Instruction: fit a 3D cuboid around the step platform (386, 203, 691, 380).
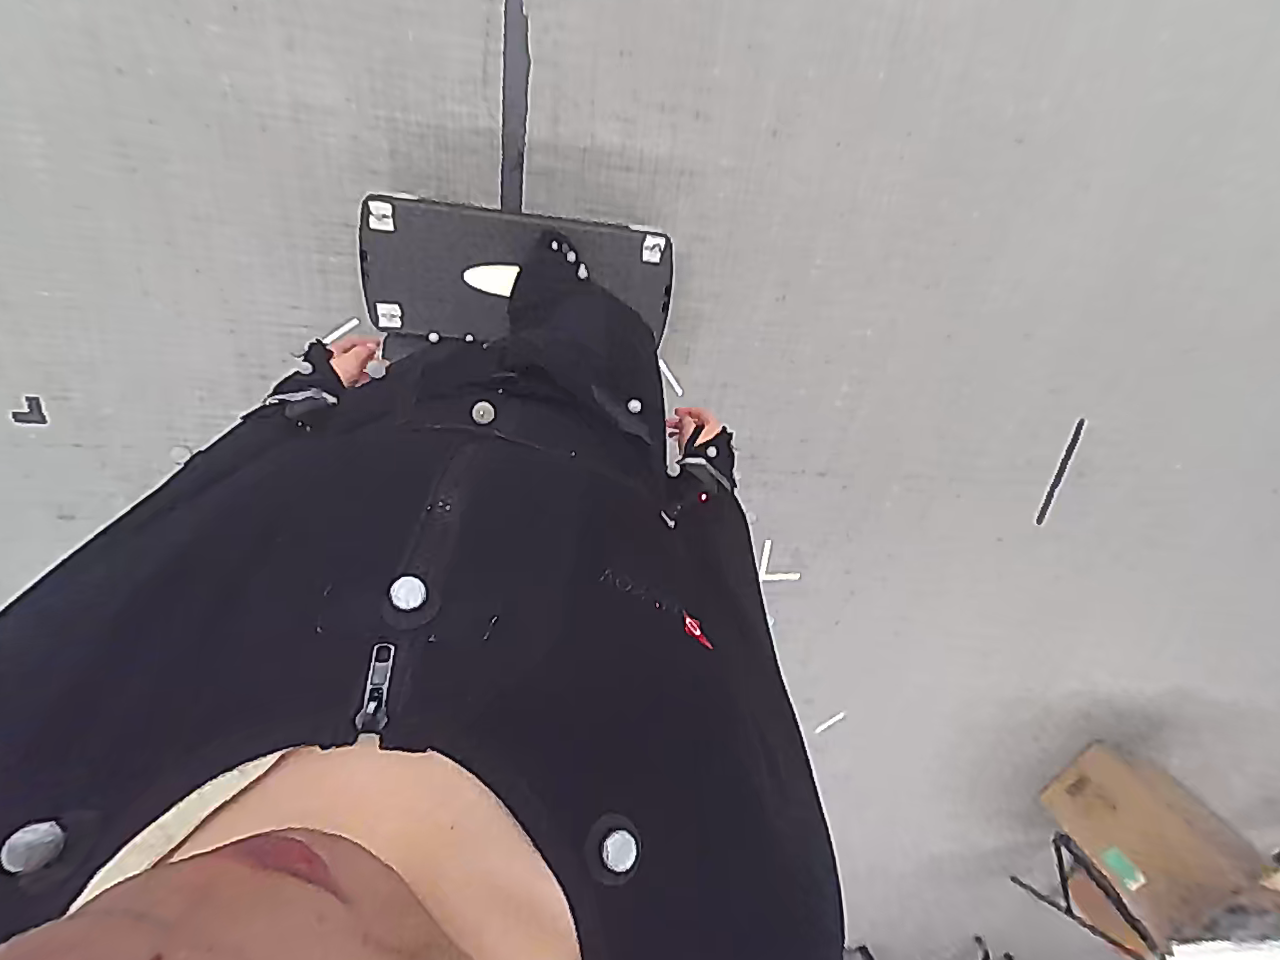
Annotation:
[{"bbox_3d":[-0.226,-0.433,1.280,0.684,0.204,0.286,7,111,-12],"label":"step platform"}]
